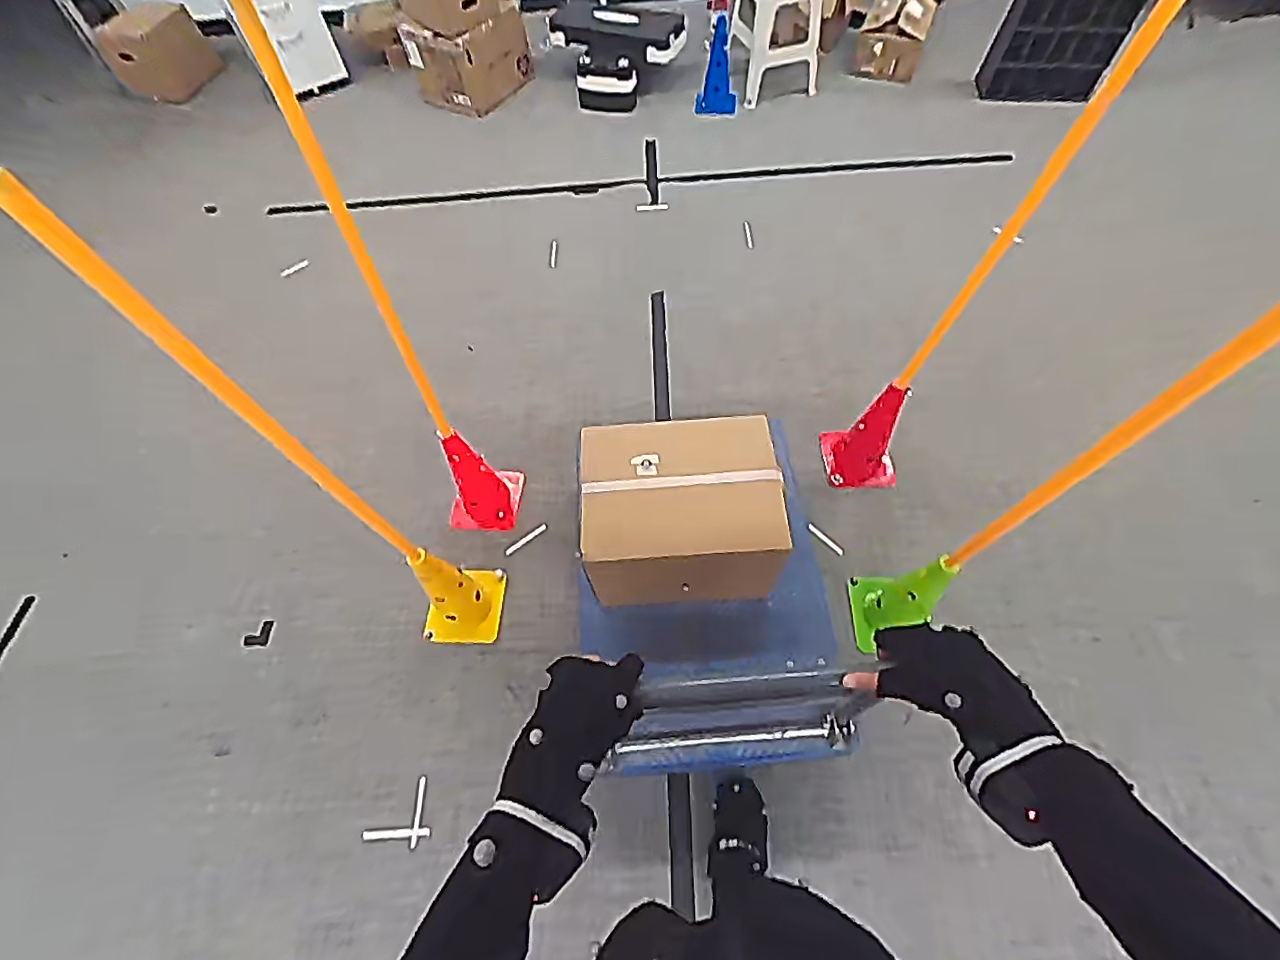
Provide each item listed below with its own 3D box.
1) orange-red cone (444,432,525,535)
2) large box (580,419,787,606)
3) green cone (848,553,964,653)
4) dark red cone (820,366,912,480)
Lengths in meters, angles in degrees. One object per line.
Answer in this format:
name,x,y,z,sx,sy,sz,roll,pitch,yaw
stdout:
orange-red cone,-0.470,-0.018,1.506,0.198,0.360,0.199,4,59,5
large box,0.088,0.088,1.239,0.408,0.320,0.320,-5,60,2
green cone,0.649,0.262,1.266,0.202,0.368,0.200,1,60,3
dark red cone,0.654,-0.166,1.496,0.201,0.394,0.202,-2,60,0
